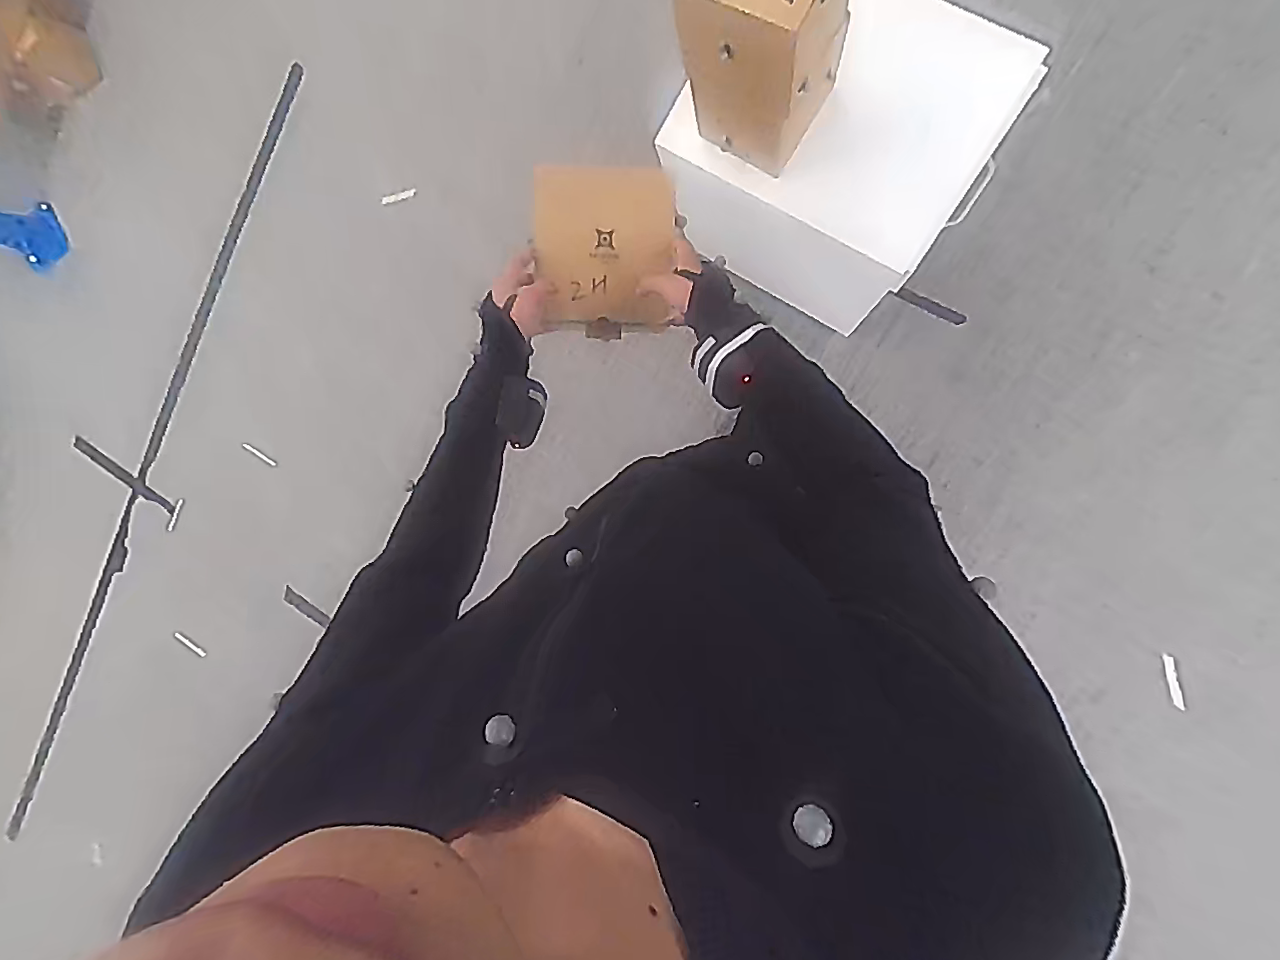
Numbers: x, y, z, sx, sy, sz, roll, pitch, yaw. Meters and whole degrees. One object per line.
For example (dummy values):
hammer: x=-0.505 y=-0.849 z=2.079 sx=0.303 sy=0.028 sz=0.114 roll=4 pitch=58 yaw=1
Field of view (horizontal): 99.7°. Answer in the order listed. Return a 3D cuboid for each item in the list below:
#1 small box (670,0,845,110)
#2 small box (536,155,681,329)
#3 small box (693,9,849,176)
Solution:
small box: x=0.161 y=-0.628 z=0.703 sx=0.179 sy=0.176 sz=0.168 roll=30 pitch=98 yaw=10
small box: x=-0.040 y=-0.296 z=0.706 sx=0.168 sy=0.176 sz=0.179 roll=2 pitch=103 yaw=-1
small box: x=0.200 y=-0.636 z=0.863 sx=0.168 sy=0.176 sz=0.179 roll=33 pitch=99 yaw=8
